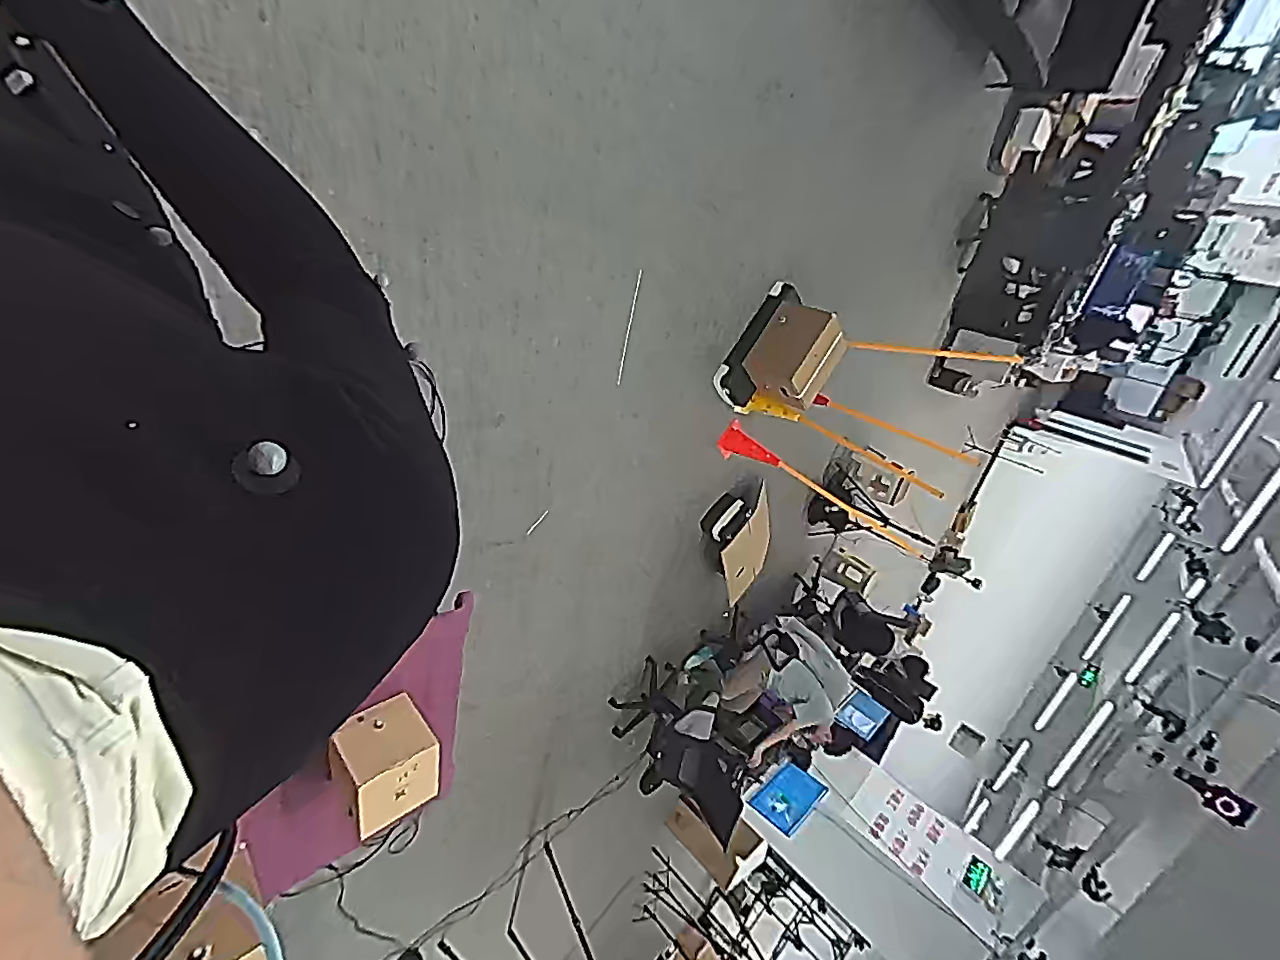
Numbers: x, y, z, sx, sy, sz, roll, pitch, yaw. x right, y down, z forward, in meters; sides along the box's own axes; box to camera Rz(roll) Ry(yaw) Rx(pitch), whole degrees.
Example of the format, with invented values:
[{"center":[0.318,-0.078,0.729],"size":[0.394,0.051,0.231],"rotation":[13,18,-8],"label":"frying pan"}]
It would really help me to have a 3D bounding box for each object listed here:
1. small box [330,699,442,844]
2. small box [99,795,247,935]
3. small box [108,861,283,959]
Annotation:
[{"center":[-0.547,0.617,1.165],"size":[0.168,0.176,0.179],"rotation":[-16,126,-45],"label":"small box"},{"center":[-0.786,0.680,0.921],"size":[0.168,0.176,0.179],"rotation":[-14,126,-45],"label":"small box"},{"center":[-0.670,0.744,0.826],"size":[0.179,0.176,0.168],"rotation":[-14,124,-45],"label":"small box"}]
